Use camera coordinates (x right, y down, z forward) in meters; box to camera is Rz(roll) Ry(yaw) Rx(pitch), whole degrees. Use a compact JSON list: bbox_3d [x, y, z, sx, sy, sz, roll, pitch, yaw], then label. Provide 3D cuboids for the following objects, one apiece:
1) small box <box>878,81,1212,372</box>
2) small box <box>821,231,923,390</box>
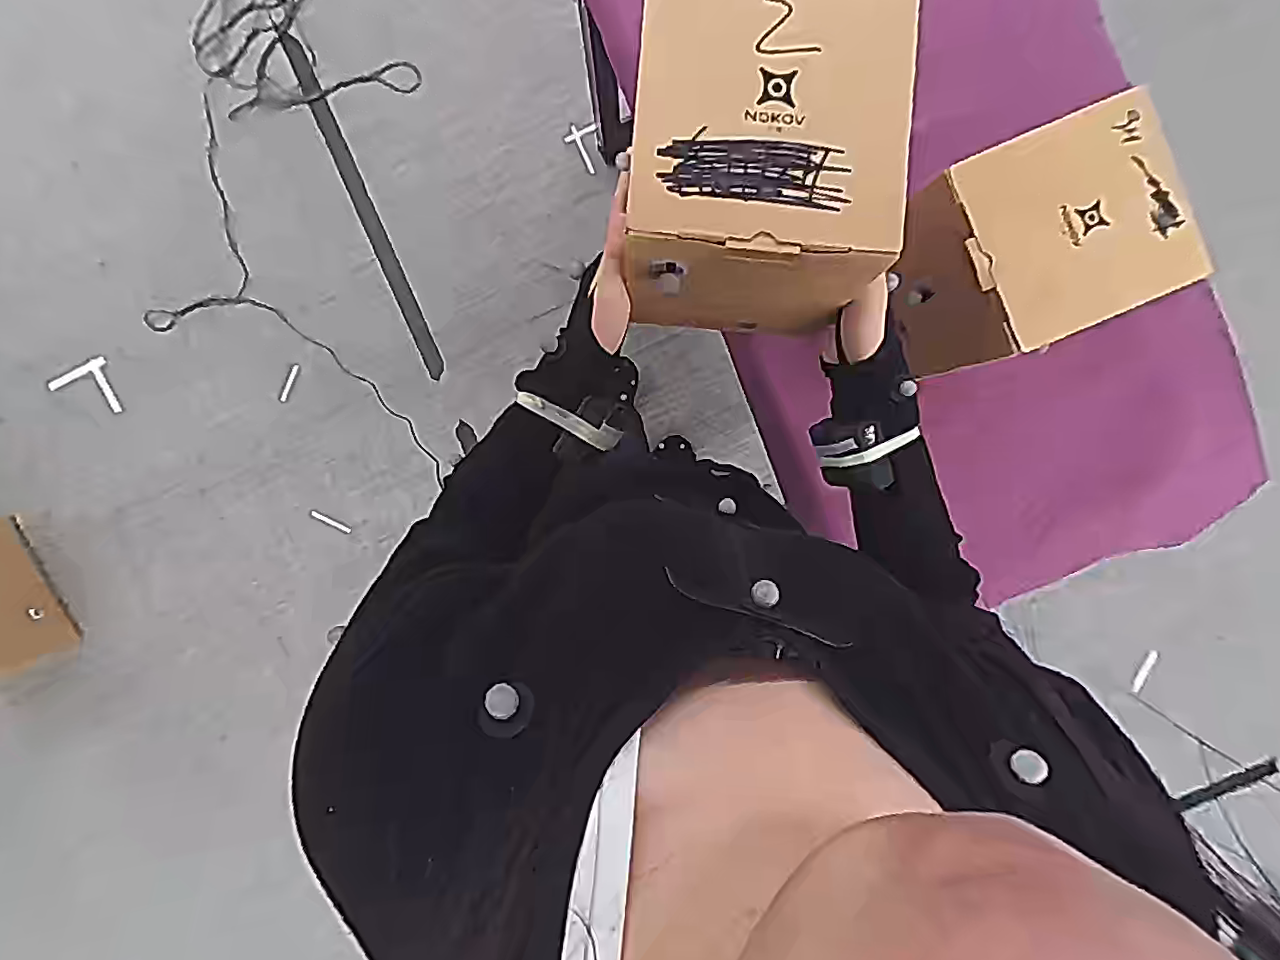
[{"bbox_3d":[0.356,-0.217,0.518,0.179,0.176,0.168,-23,93,1],"label":"small box"},{"bbox_3d":[0.350,-0.225,0.681,0.179,0.176,0.168,-24,93,0],"label":"small box"}]
